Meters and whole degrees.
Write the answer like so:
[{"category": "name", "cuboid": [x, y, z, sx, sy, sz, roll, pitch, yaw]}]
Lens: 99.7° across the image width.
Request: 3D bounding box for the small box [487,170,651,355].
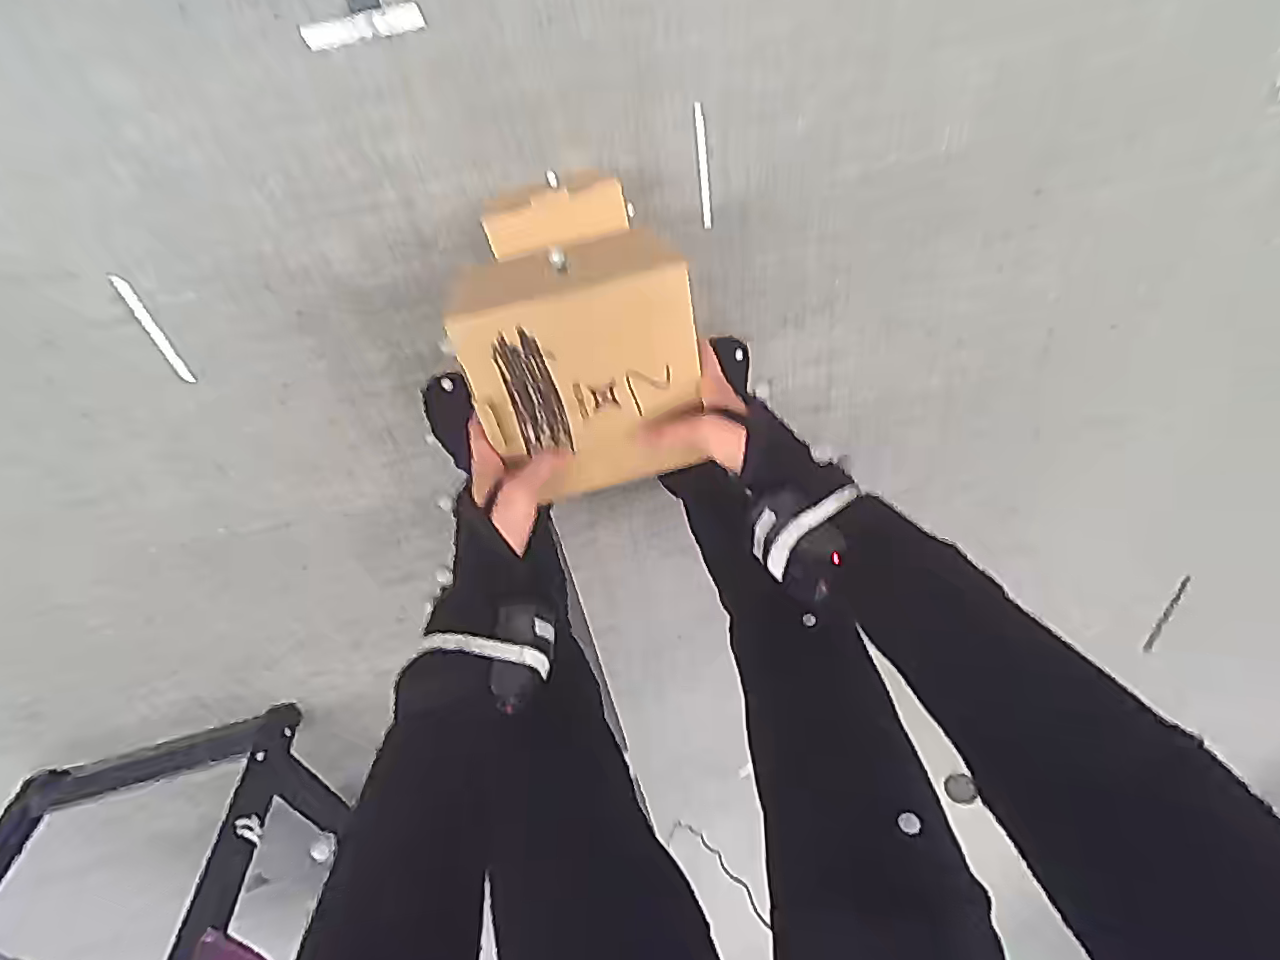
[{"category": "small box", "cuboid": [-0.094, -0.299, 0.732, 0.168, 0.176, 0.179, -18, 125, -2]}]
